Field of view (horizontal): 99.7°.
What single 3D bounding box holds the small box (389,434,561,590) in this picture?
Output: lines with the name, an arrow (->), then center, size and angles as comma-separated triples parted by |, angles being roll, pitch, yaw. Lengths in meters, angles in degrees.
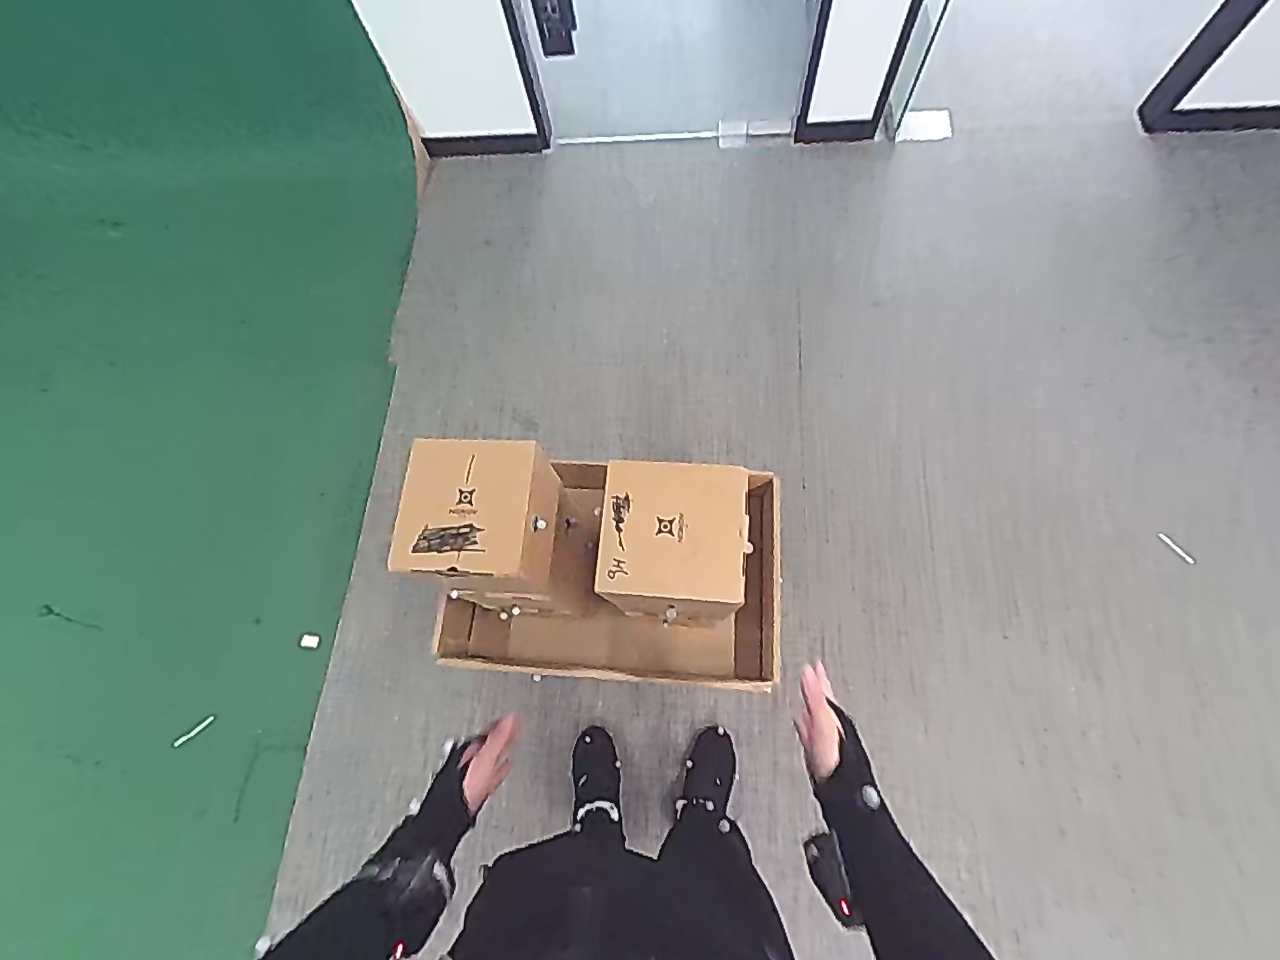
small box -> -0.209, 0.051, 0.739 | 0.168, 0.176, 0.179 | 2, 70, 4

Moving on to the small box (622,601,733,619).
small box -> 0.061, 0.129, 0.872 | 0.179, 0.176, 0.168 | 5, 73, 5

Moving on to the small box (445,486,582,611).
small box -> -0.195, 0.112, 0.892 | 0.168, 0.176, 0.179 | 4, 71, 5

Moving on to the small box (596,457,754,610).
small box -> 0.047, 0.079, 0.717 | 0.179, 0.176, 0.168 | 5, 73, 5
